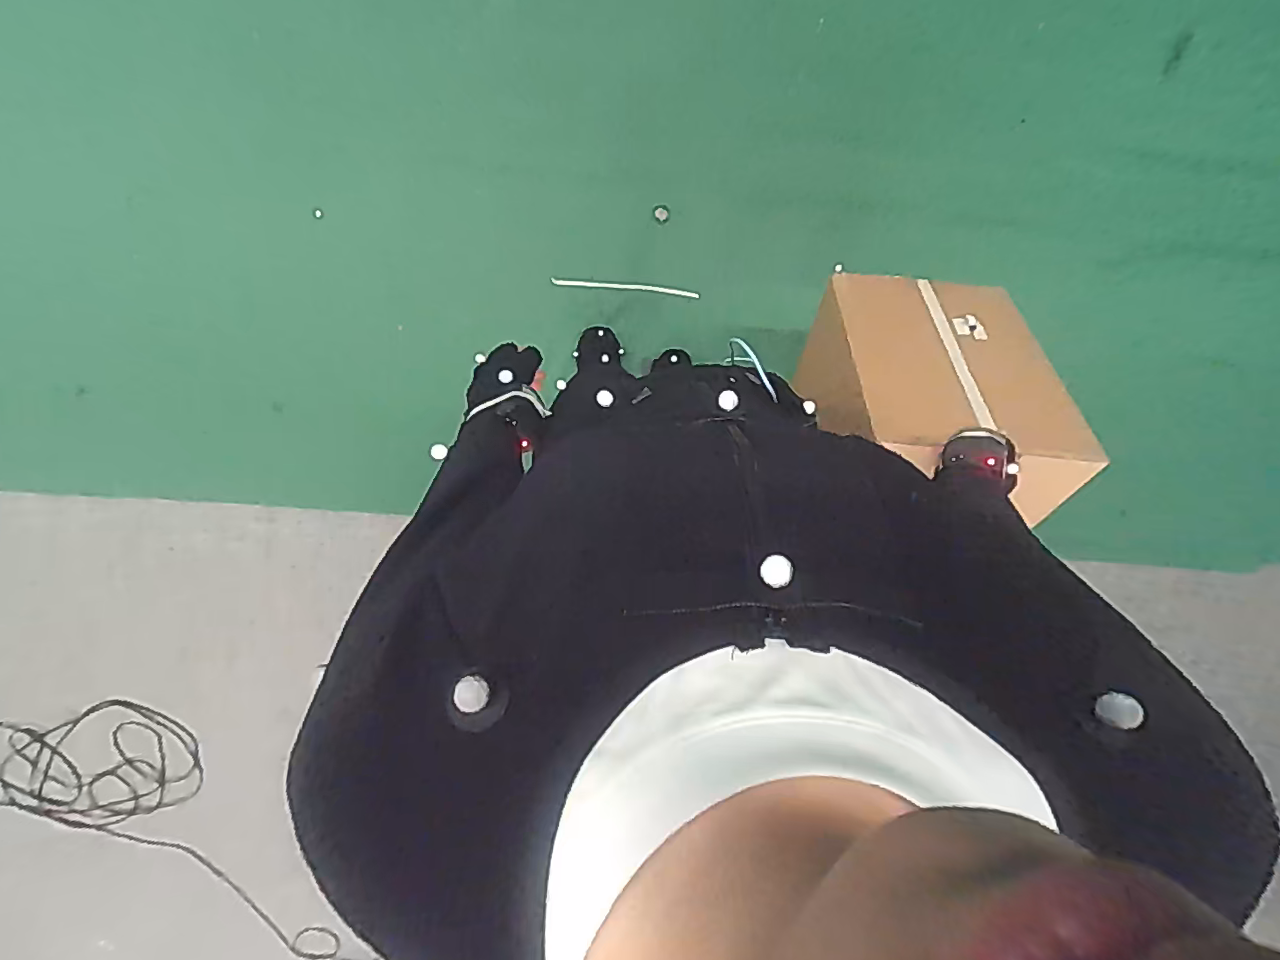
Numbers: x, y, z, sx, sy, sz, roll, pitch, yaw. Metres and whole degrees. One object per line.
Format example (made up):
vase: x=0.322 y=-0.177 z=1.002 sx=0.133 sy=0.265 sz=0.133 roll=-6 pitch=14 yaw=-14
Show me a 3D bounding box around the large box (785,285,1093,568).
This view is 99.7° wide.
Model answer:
large box: x=0.468 y=-0.093 z=0.969 sx=0.320 sy=0.408 sz=0.320 roll=6 pitch=141 yaw=-1
